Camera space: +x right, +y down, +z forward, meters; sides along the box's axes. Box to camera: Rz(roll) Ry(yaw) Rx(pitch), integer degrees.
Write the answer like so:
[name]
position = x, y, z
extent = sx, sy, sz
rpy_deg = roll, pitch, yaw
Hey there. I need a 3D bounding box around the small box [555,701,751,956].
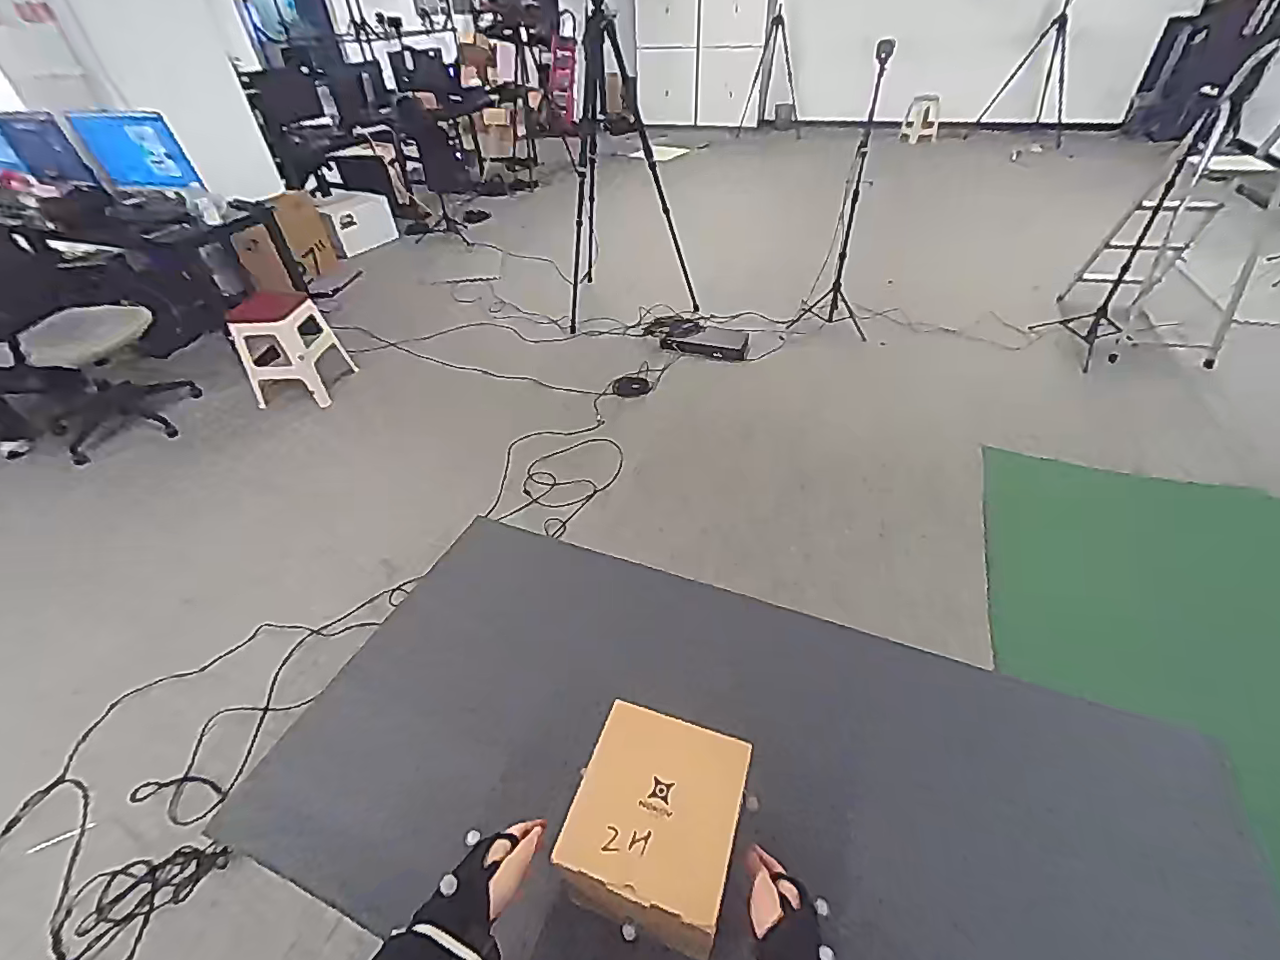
[small box]
position = 0.021, 0.394, 0.619
extent = 0.168, 0.176, 0.179
rpy_deg = 12, 44, 16
